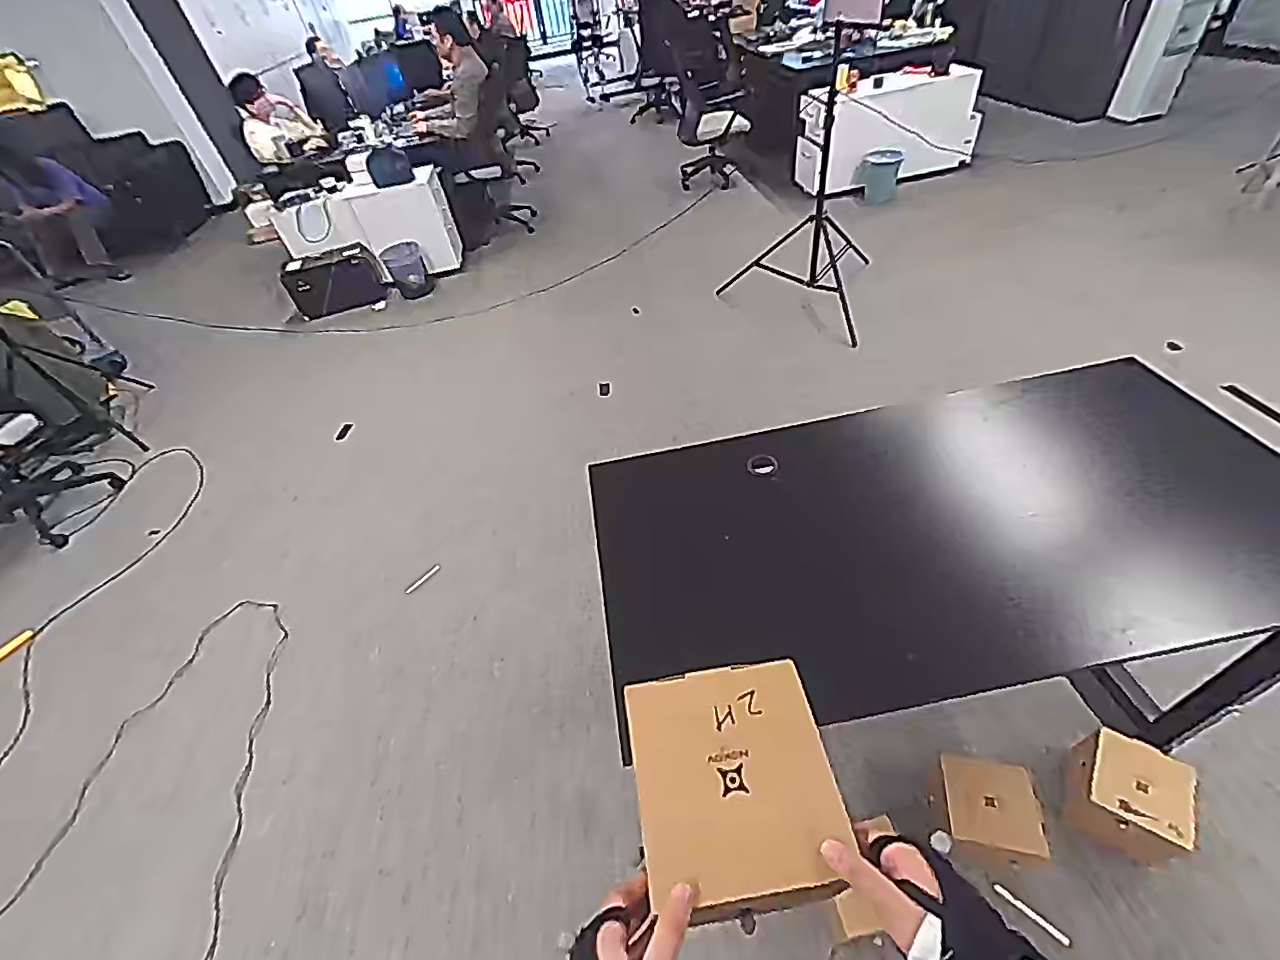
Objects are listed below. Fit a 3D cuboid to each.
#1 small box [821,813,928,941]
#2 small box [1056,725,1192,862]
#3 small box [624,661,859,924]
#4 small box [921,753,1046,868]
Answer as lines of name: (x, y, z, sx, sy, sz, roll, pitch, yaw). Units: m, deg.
small box: (0.457, 0.827, 1.125, 0.168, 0.176, 0.179, -13, 46, -1)
small box: (1.034, 0.675, 1.165, 0.168, 0.176, 0.179, 22, 53, 29)
small box: (0.082, 0.301, 0.517, 0.168, 0.176, 0.179, -8, 46, -3)
small box: (0.735, 0.722, 1.178, 0.179, 0.176, 0.168, 3, 46, 14)
